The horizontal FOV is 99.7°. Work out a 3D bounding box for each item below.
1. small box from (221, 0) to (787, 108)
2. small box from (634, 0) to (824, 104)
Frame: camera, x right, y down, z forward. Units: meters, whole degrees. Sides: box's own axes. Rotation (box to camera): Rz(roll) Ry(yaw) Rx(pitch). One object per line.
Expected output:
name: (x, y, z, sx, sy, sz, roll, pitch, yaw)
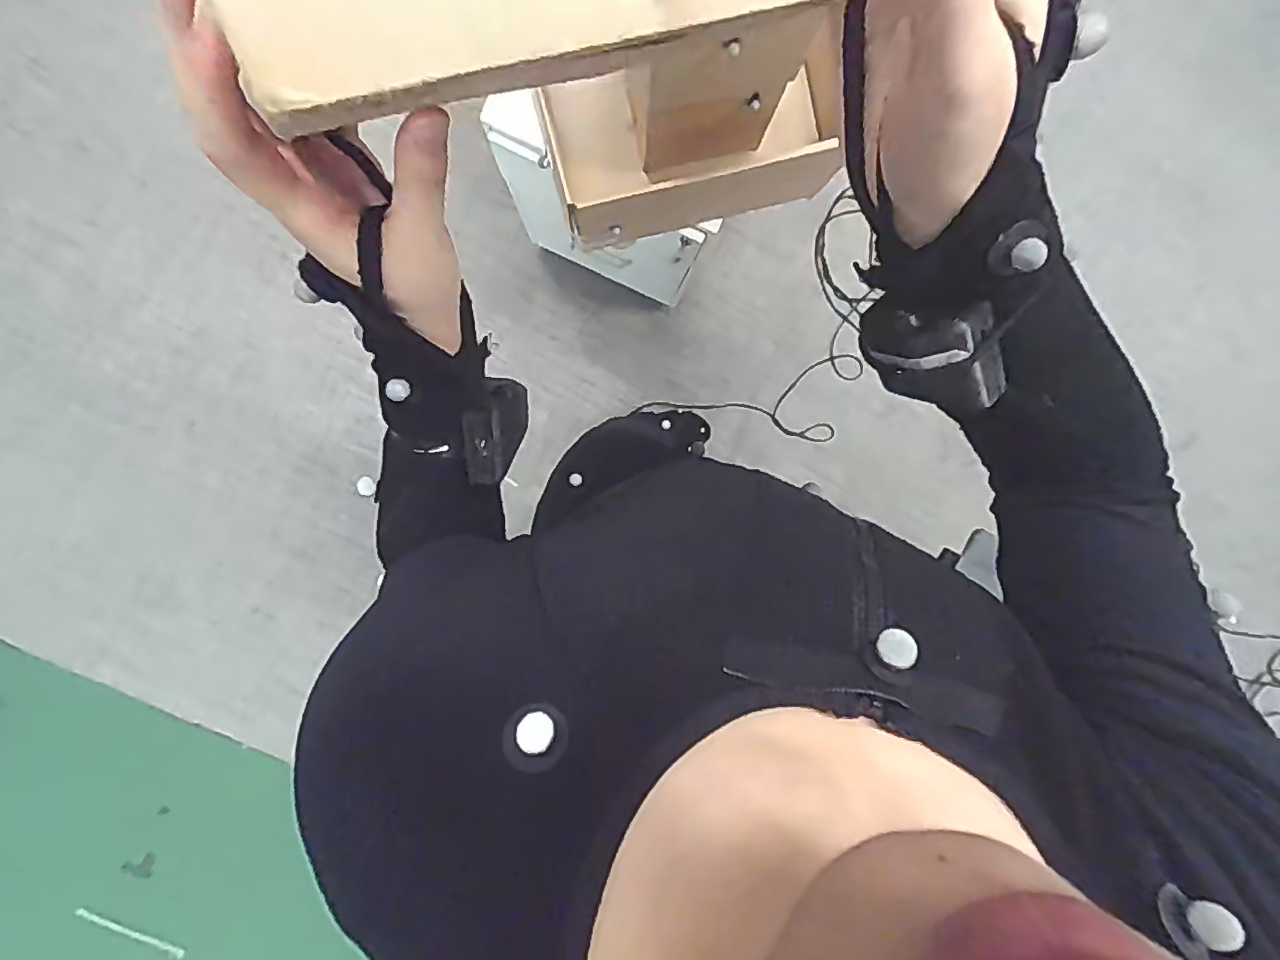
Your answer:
small box: (-0.064, -0.224, 0.152, 0.168, 0.179, 0.176, -26, 129, -17)
small box: (0.078, -0.519, 0.536, 0.179, 0.176, 0.168, -13, 95, 0)
